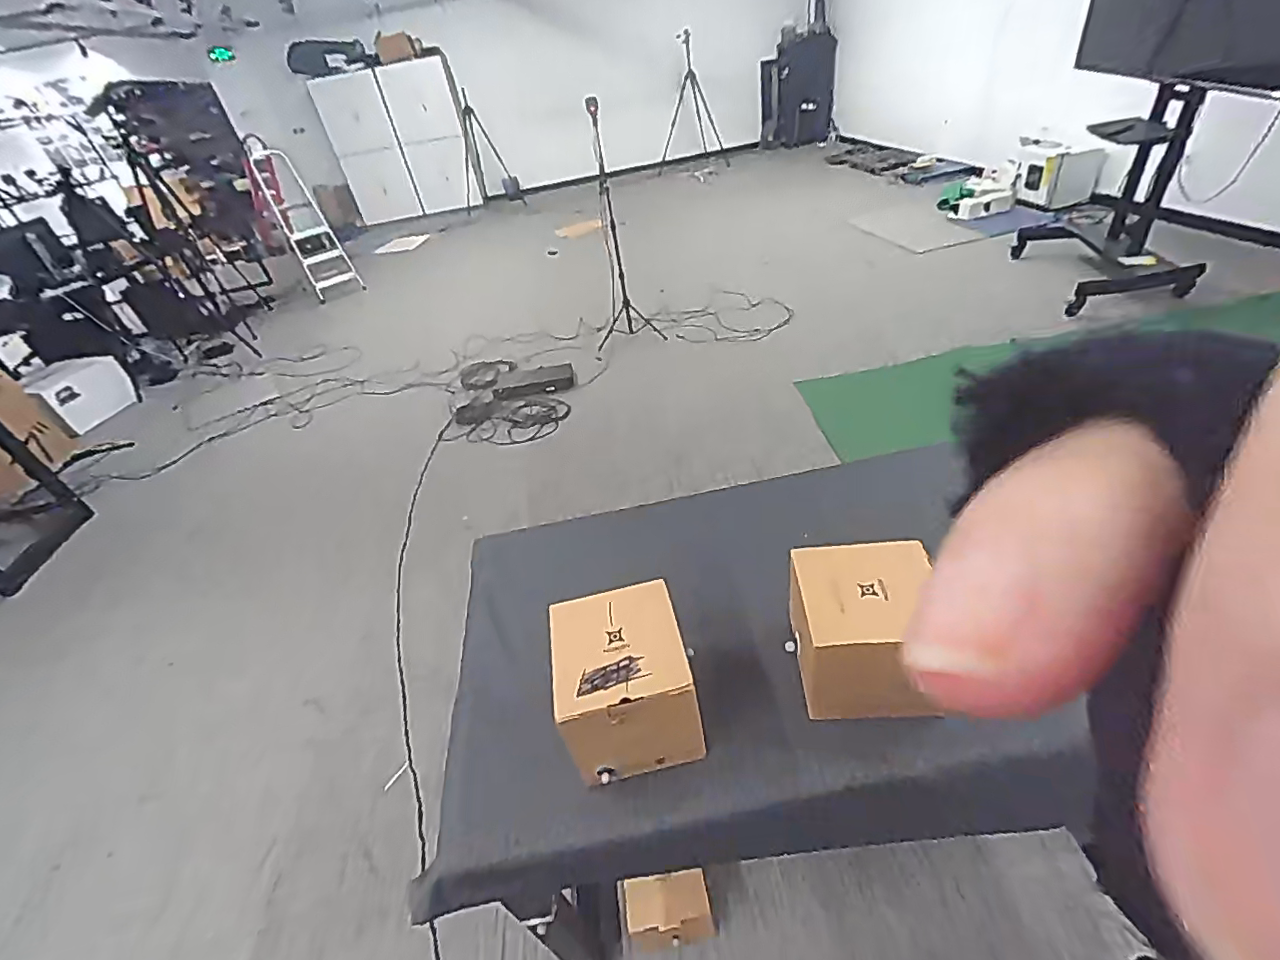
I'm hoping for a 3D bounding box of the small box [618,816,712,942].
[{"bbox_3d":[0.054,0.863,1.164,0.168,0.176,0.179,-11,38,-1],"label":"small box"}]

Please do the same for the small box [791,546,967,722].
[{"bbox_3d":[0.308,0.212,0.741,0.179,0.176,0.168,-6,36,8],"label":"small box"}]

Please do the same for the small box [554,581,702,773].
[{"bbox_3d":[-0.017,0.271,0.737,0.168,0.176,0.179,-12,36,-2],"label":"small box"}]
